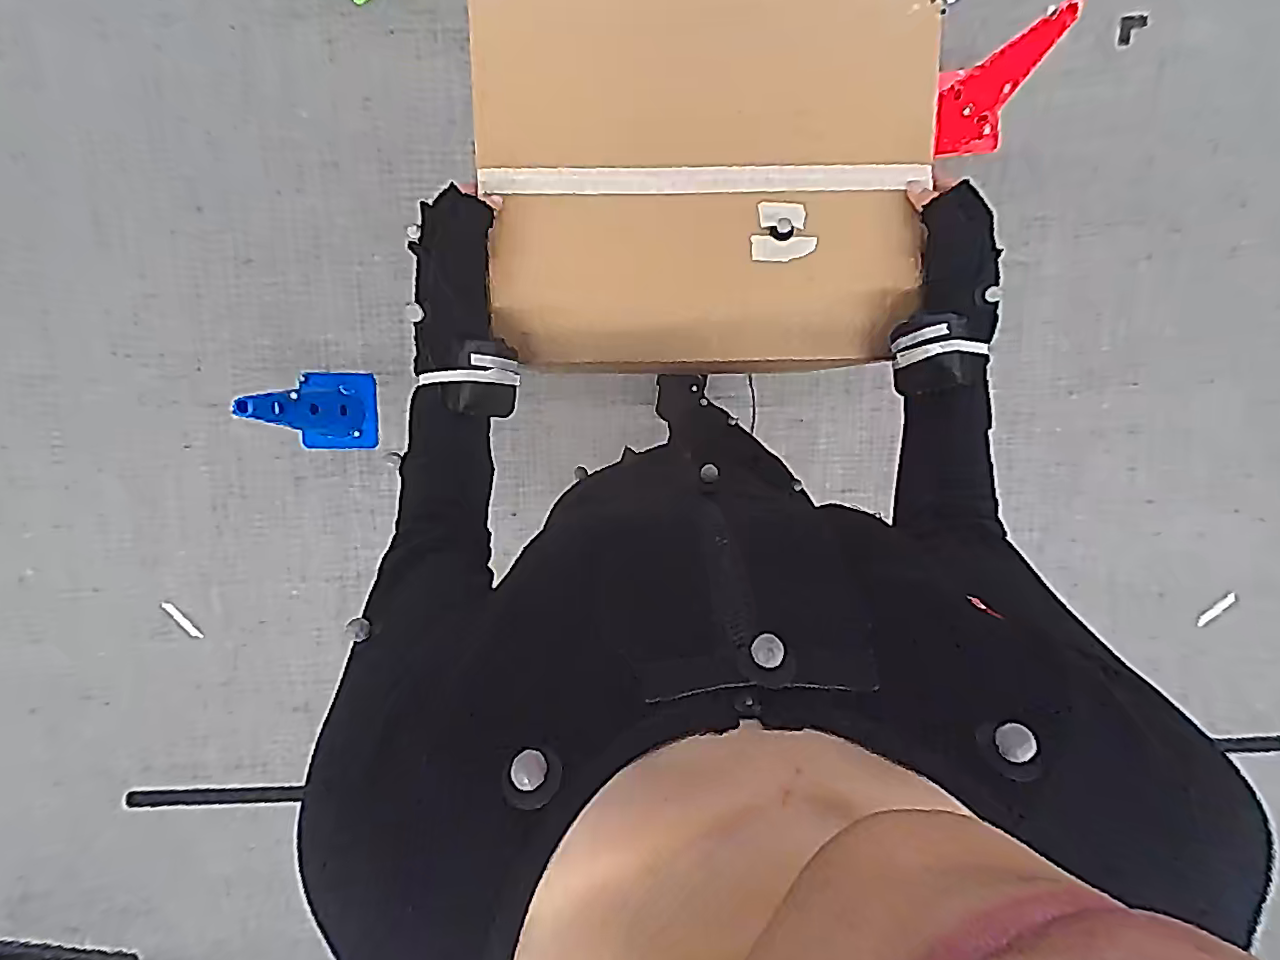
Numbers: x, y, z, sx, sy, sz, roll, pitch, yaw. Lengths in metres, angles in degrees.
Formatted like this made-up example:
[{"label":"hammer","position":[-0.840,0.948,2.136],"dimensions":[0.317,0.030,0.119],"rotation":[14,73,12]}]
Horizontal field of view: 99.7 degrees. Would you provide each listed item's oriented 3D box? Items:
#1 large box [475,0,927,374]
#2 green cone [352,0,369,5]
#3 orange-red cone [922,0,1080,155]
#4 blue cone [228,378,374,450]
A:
[{"label":"large box","position":[0.052,-0.295,0.637],"dimensions":[0.408,0.320,0.320],"rotation":[-1,99,-2]},{"label":"green cone","position":[-0.678,-1.274,1.140],"dimensions":[0.202,0.368,0.200],"rotation":[-39,95,4]},{"label":"orange-red cone","position":[0.816,-0.918,1.206],"dimensions":[0.198,0.360,0.199],"rotation":[-4,95,-2]},{"label":"blue cone","position":[-0.802,-0.157,1.272],"dimensions":[0.192,0.380,0.193],"rotation":[2,96,0]}]
